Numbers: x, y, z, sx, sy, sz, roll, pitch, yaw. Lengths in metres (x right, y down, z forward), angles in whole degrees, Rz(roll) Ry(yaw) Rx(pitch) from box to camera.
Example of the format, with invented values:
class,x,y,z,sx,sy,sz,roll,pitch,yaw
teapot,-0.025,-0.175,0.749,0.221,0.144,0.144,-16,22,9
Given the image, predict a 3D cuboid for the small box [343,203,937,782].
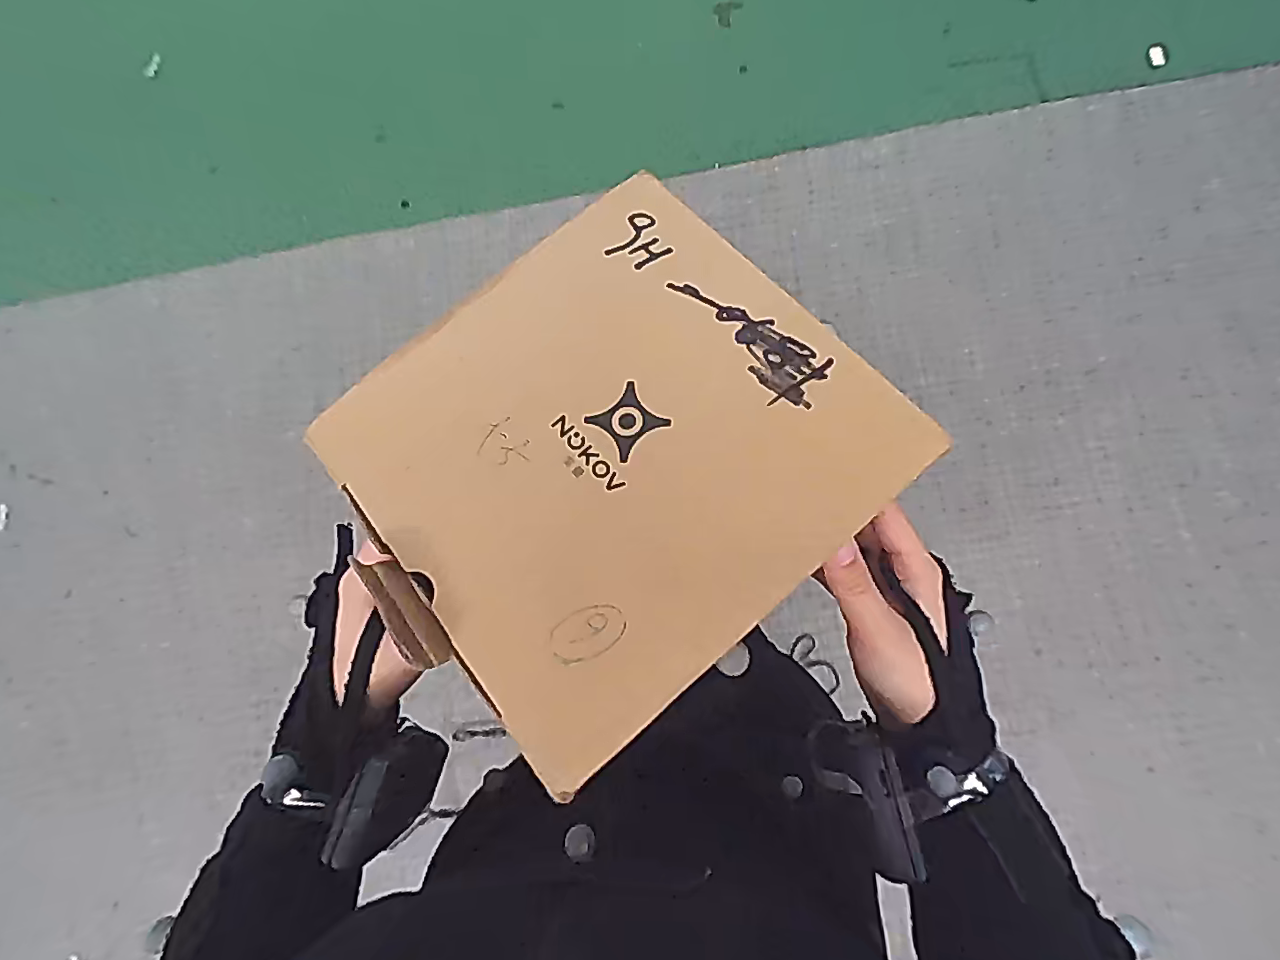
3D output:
class,x,y,z,sx,sy,sz,roll,pitch,yaw
small box,0.001,0.012,0.284,0.179,0.176,0.168,-40,74,-7
